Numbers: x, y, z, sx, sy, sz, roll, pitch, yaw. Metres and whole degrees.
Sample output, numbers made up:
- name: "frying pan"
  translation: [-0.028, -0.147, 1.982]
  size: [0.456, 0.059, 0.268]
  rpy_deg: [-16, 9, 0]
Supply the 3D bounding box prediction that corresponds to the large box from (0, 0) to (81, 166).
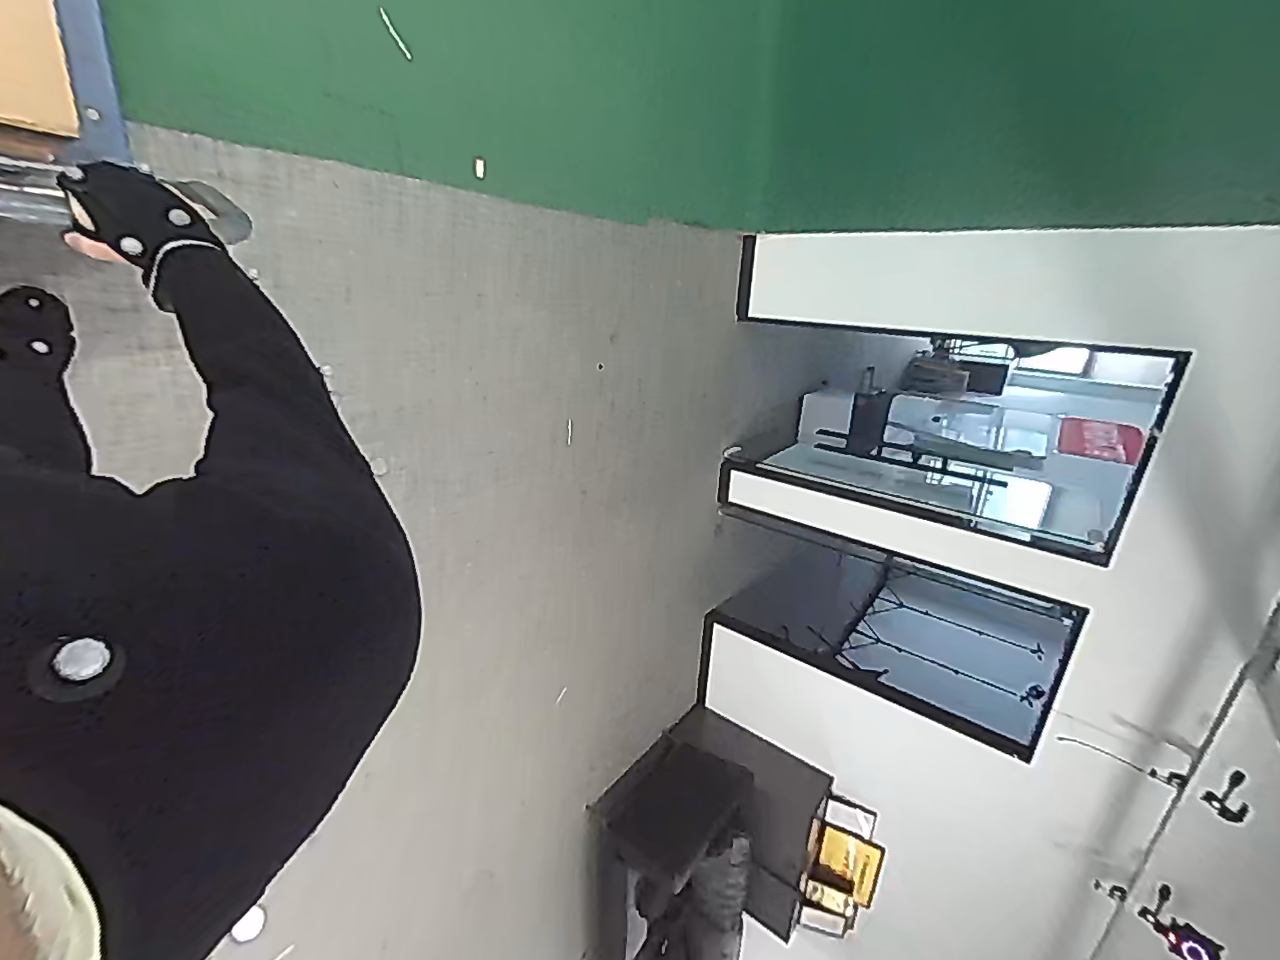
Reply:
- name: "large box"
  translation: [-0.985, -0.657, 0.667]
  size: [0.320, 0.320, 0.408]
  rpy_deg: [-20, 118, -50]
